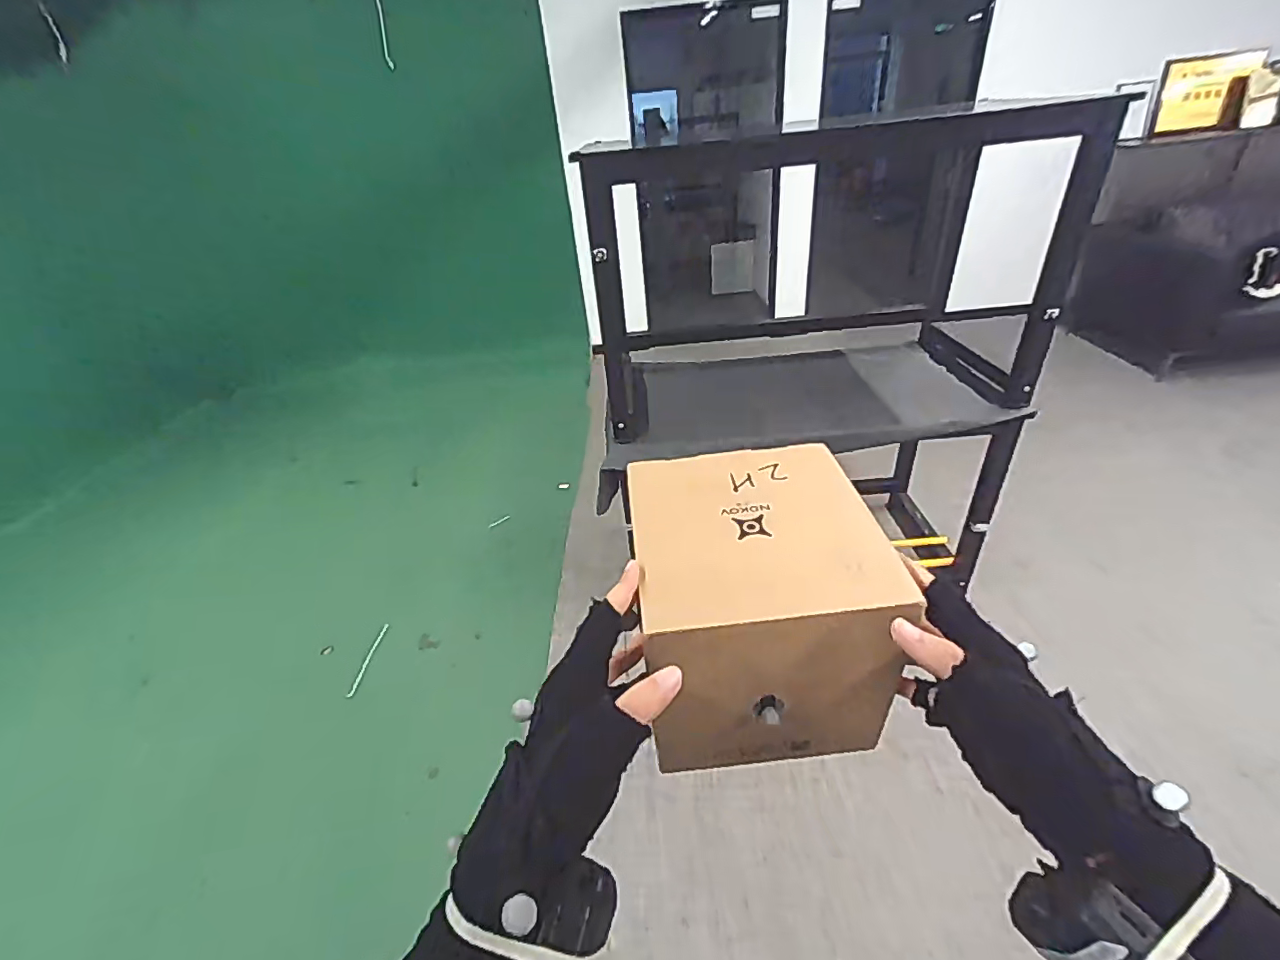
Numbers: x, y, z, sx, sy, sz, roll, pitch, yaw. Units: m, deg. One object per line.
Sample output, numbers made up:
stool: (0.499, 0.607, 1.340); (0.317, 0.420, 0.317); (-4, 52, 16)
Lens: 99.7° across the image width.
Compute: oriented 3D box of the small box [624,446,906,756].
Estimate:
small box: (0.079, 0.096, 0.428); (0.168, 0.176, 0.179); (-6, 35, -1)
